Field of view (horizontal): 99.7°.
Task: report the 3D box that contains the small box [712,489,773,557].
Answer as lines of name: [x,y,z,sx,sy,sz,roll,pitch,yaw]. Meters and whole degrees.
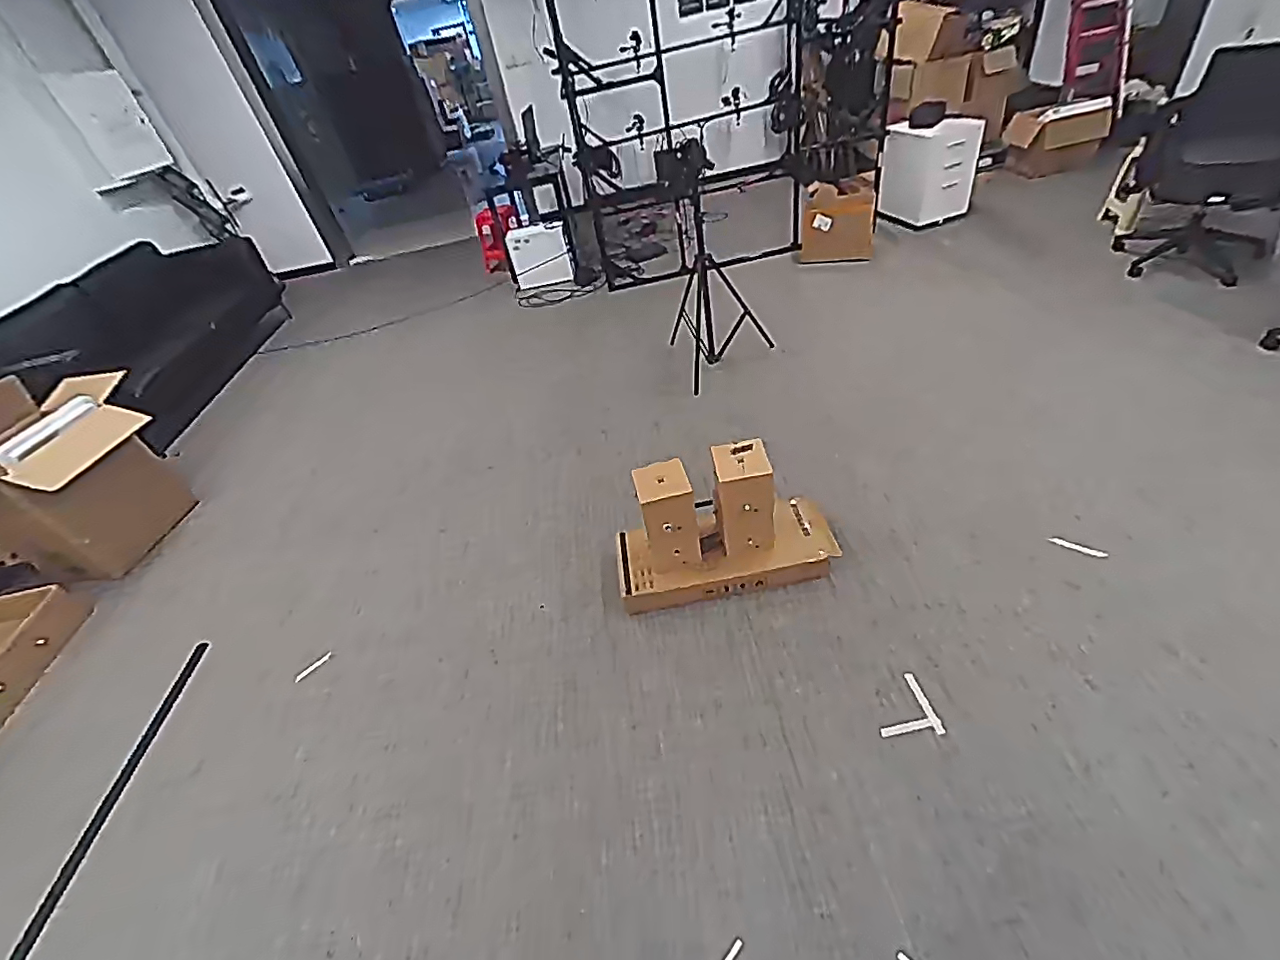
small box: [0.349,0.133,1.839,0.168,0.176,0.179,-13,40,1]

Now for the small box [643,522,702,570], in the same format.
small box: [0.108,0.188,1.841,0.168,0.176,0.179,-13,40,0]

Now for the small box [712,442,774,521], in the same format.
small box: [0.329,0.006,1.737,0.168,0.176,0.179,-10,40,4]

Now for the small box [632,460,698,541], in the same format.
small box: [0.080,0.067,1.734,0.168,0.176,0.179,-15,40,-2]
